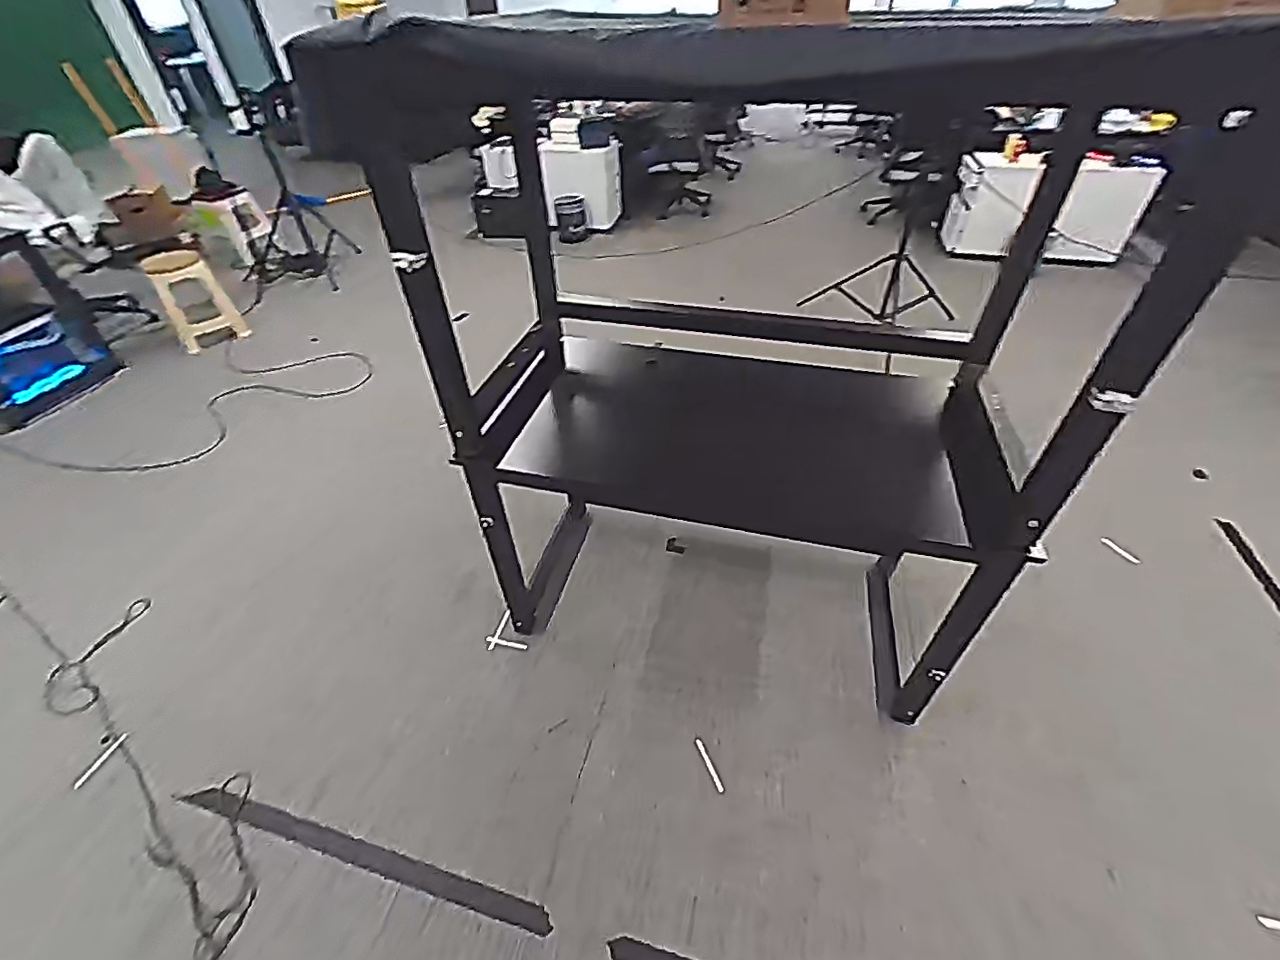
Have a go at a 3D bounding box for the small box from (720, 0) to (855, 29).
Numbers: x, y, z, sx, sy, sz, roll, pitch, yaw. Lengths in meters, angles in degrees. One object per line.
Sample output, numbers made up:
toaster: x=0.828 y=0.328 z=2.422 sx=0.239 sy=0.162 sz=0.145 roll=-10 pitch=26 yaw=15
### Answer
small box: x=0.195 y=-0.680 z=0.677 sx=0.168 sy=0.176 sz=0.179 roll=9 pitch=41 yaw=11
